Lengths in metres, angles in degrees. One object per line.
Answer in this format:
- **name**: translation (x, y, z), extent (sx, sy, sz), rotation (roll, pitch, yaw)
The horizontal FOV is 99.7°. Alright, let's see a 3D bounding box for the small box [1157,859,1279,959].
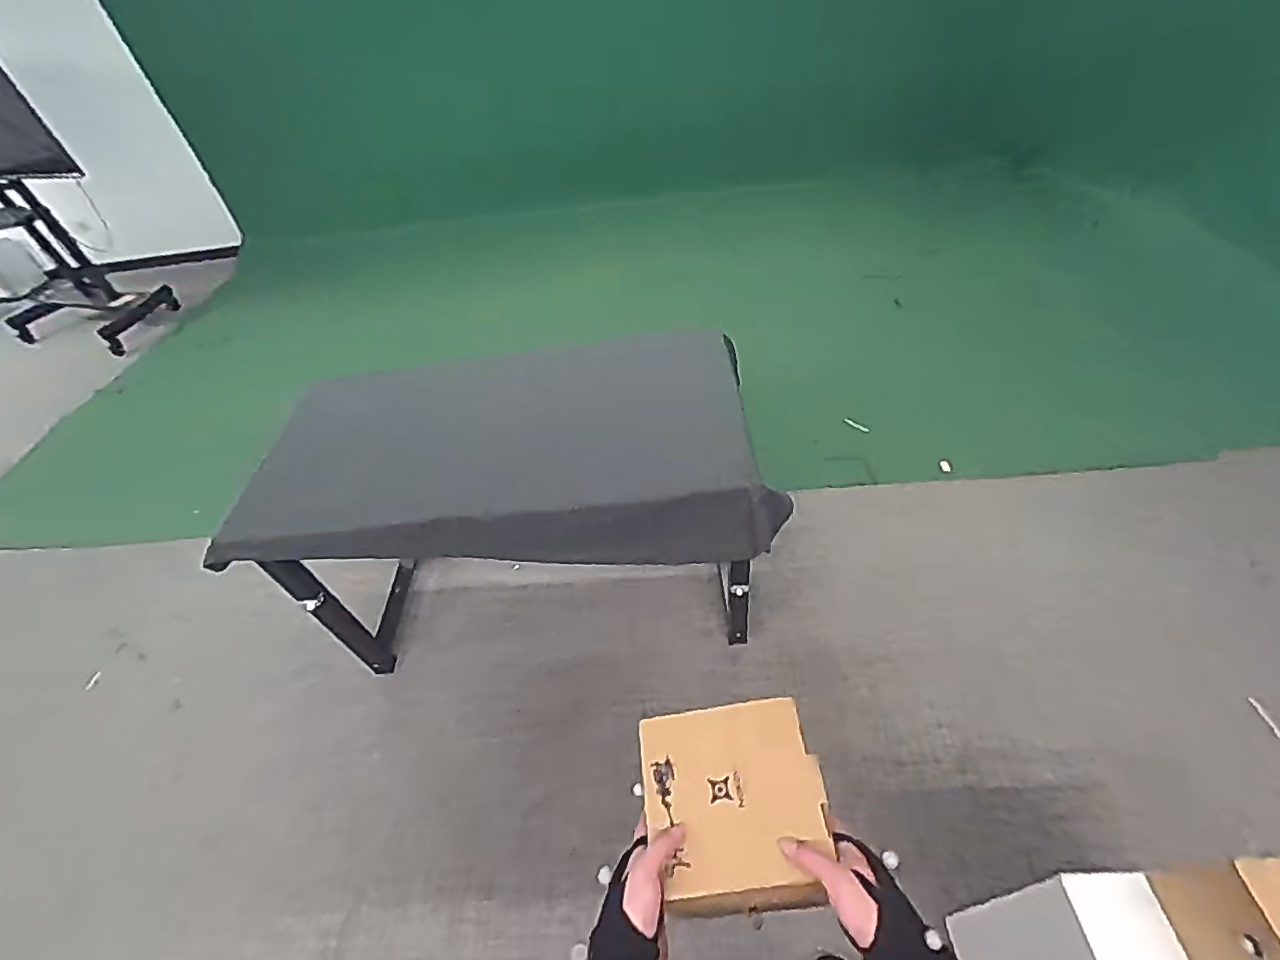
- **small box**: translation (0.751, 0.538, 0.600), extent (0.168, 0.176, 0.179), rotation (-6, 48, 4)

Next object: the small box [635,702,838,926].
- **small box**: translation (0.097, 0.367, 0.593), extent (0.179, 0.176, 0.168), rotation (-10, 44, 4)
